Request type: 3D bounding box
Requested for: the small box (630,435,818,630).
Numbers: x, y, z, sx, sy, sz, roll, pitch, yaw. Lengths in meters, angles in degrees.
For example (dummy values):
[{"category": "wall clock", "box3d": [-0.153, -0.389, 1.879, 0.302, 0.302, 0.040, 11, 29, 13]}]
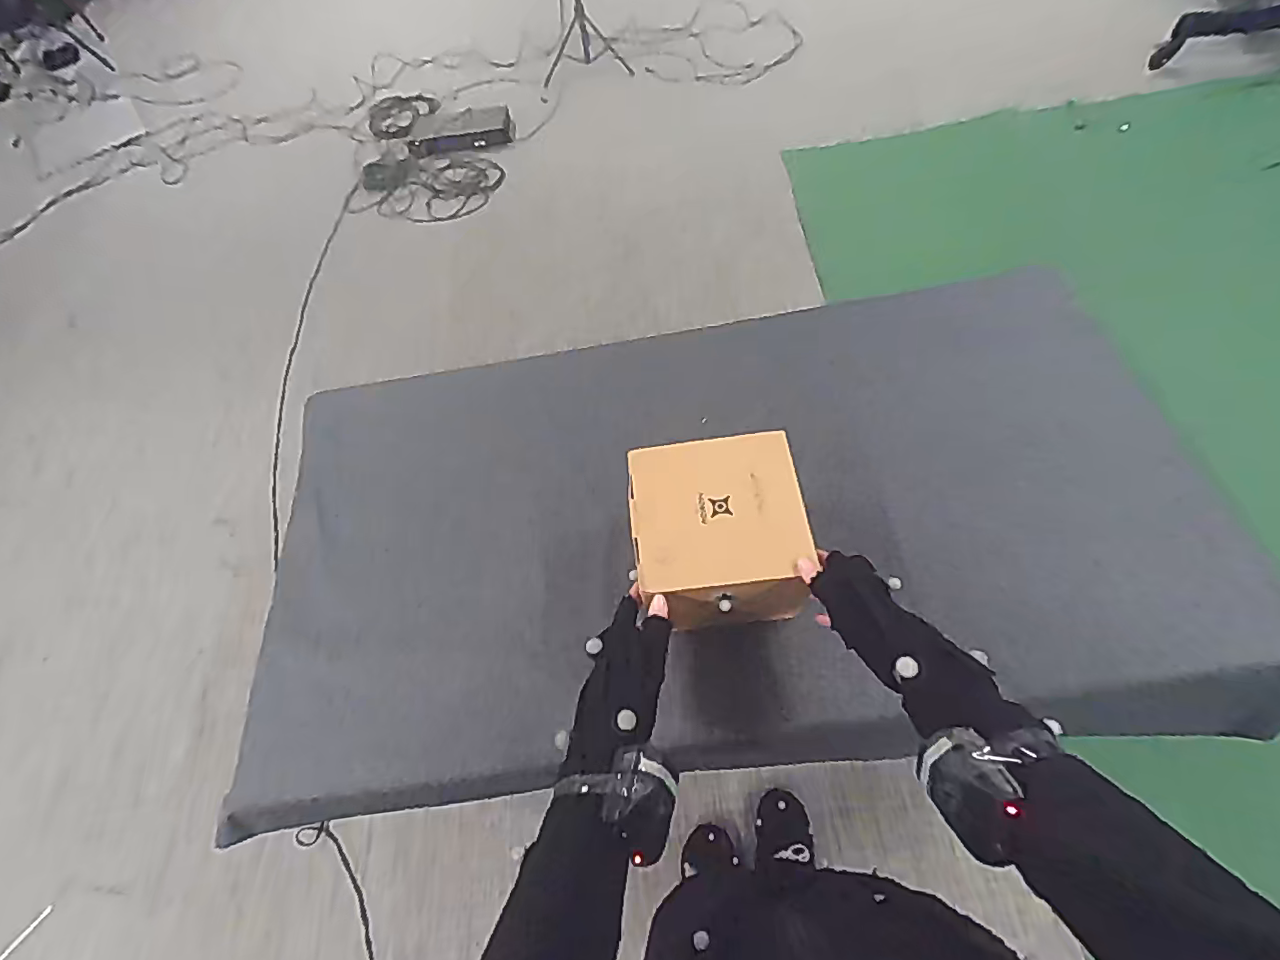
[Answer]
[{"category": "small box", "box3d": [0.090, 0.070, 0.635, 0.179, 0.176, 0.168, -8, 61, 2]}]
